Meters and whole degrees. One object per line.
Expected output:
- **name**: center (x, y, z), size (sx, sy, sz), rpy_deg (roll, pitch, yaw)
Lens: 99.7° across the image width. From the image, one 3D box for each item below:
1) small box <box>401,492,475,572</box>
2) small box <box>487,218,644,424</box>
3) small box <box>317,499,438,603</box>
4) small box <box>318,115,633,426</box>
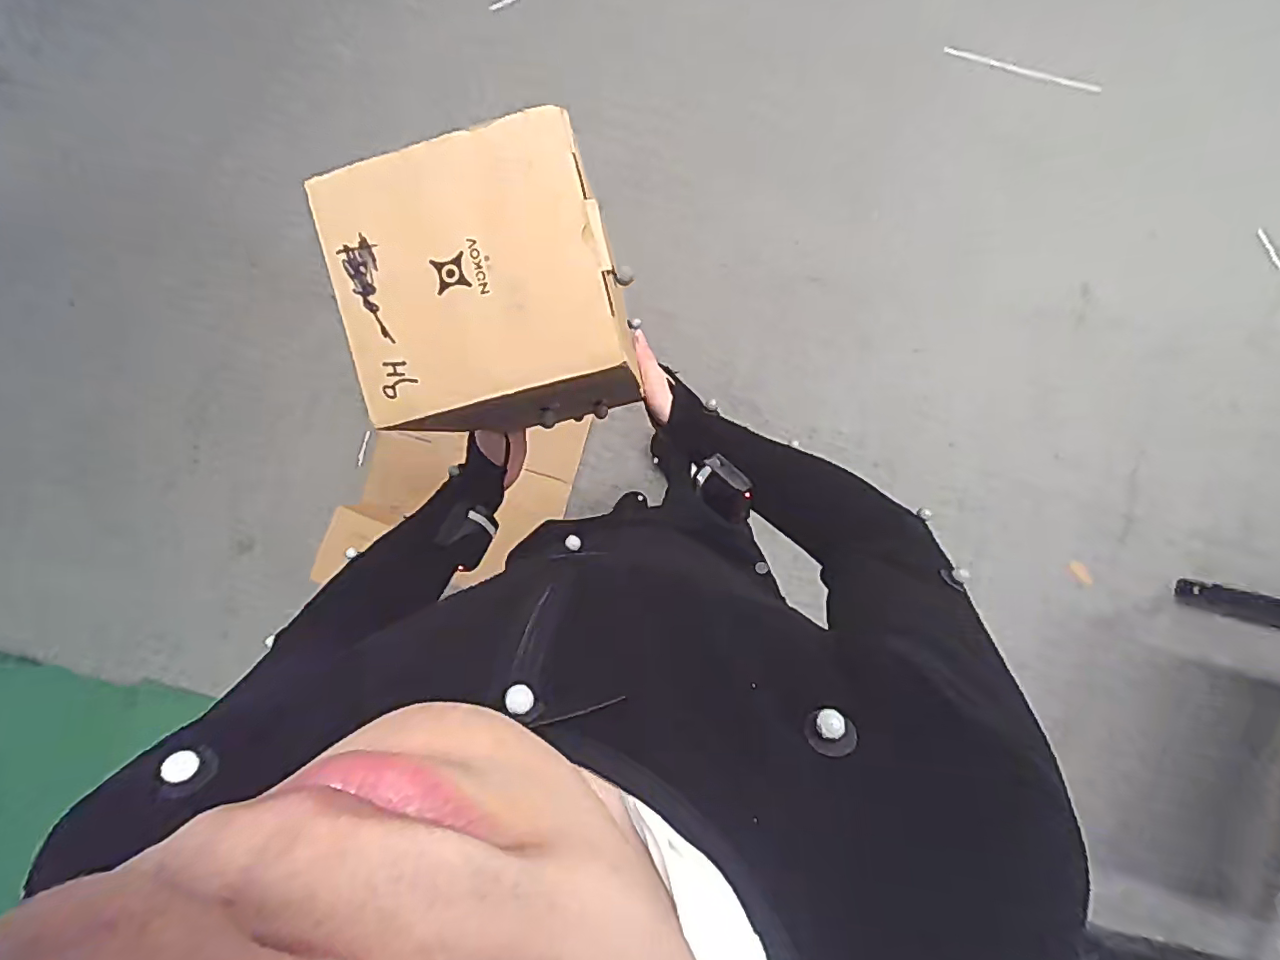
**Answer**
- **small box**: center (-0.604, 0.145, 1.574), size (0.168, 0.176, 0.179), rpy_deg (21, 91, 0)
- **small box**: center (-0.094, -0.158, 0.593), size (0.179, 0.176, 0.168), rpy_deg (-12, 93, 5)
- **small box**: center (-0.594, 0.154, 1.247), size (0.168, 0.176, 0.179), rpy_deg (23, 91, 0)
- **small box**: center (-0.105, -0.141, 0.430), size (0.179, 0.176, 0.168), rpy_deg (-13, 93, 4)
